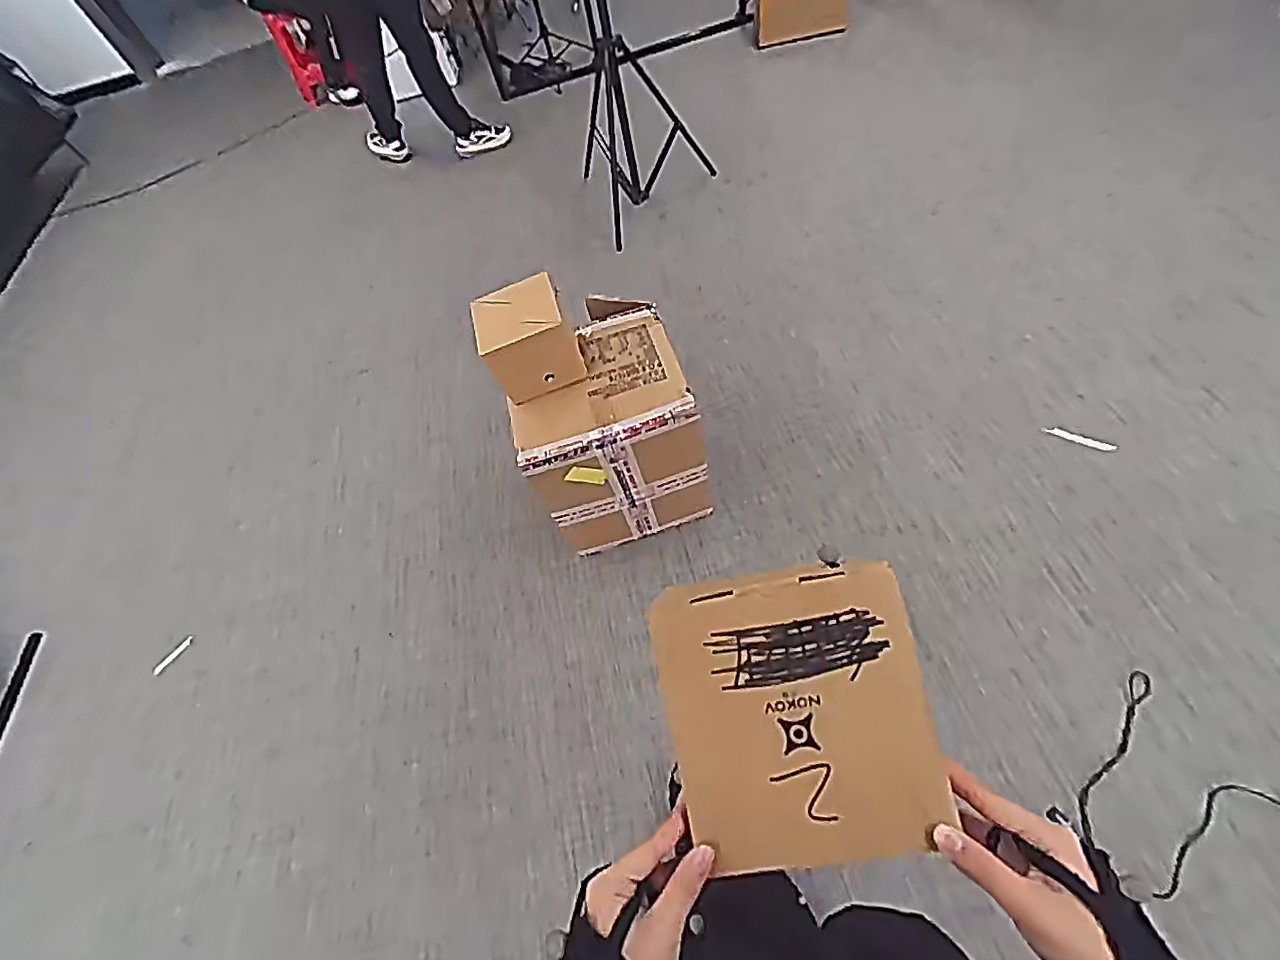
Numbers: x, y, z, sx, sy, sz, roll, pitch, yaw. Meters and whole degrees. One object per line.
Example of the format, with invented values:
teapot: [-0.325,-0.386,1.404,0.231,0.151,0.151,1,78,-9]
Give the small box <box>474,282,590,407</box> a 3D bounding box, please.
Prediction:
small box: [-0.230,-0.292,1.157,0.179,0.176,0.168,-20,58,3]
